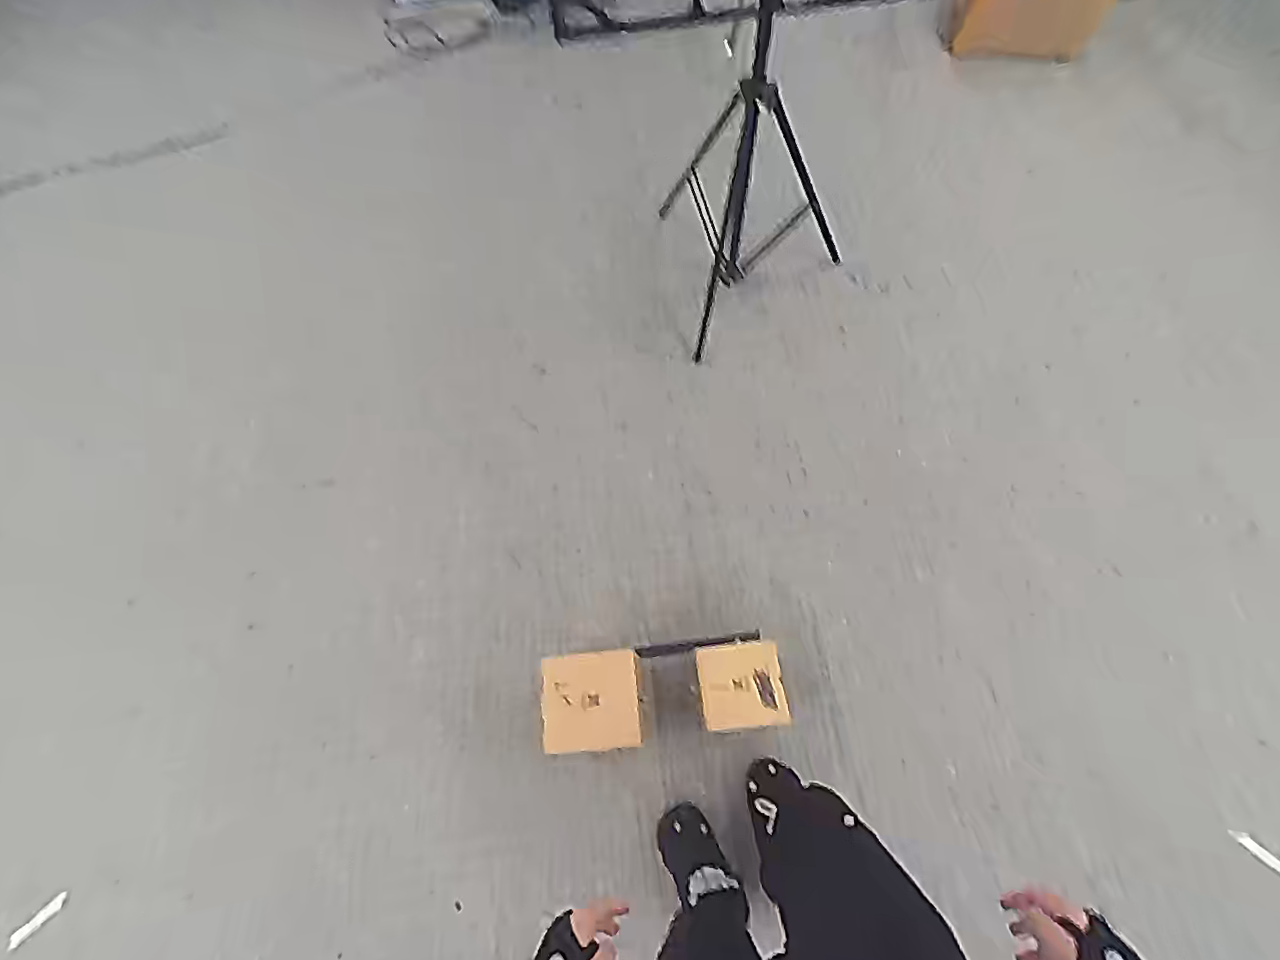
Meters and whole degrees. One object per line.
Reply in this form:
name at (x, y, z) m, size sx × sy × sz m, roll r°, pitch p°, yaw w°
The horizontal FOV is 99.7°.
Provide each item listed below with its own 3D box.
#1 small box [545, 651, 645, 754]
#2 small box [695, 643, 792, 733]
small box at (-0.082, 0.431, 1.055) m, size 0.179 × 0.176 × 0.168 m, roll -6°, pitch 67°, yaw 1°
small box at (0.221, 0.460, 1.203) m, size 0.179 × 0.176 × 0.168 m, roll -7°, pitch 68°, yaw 2°
